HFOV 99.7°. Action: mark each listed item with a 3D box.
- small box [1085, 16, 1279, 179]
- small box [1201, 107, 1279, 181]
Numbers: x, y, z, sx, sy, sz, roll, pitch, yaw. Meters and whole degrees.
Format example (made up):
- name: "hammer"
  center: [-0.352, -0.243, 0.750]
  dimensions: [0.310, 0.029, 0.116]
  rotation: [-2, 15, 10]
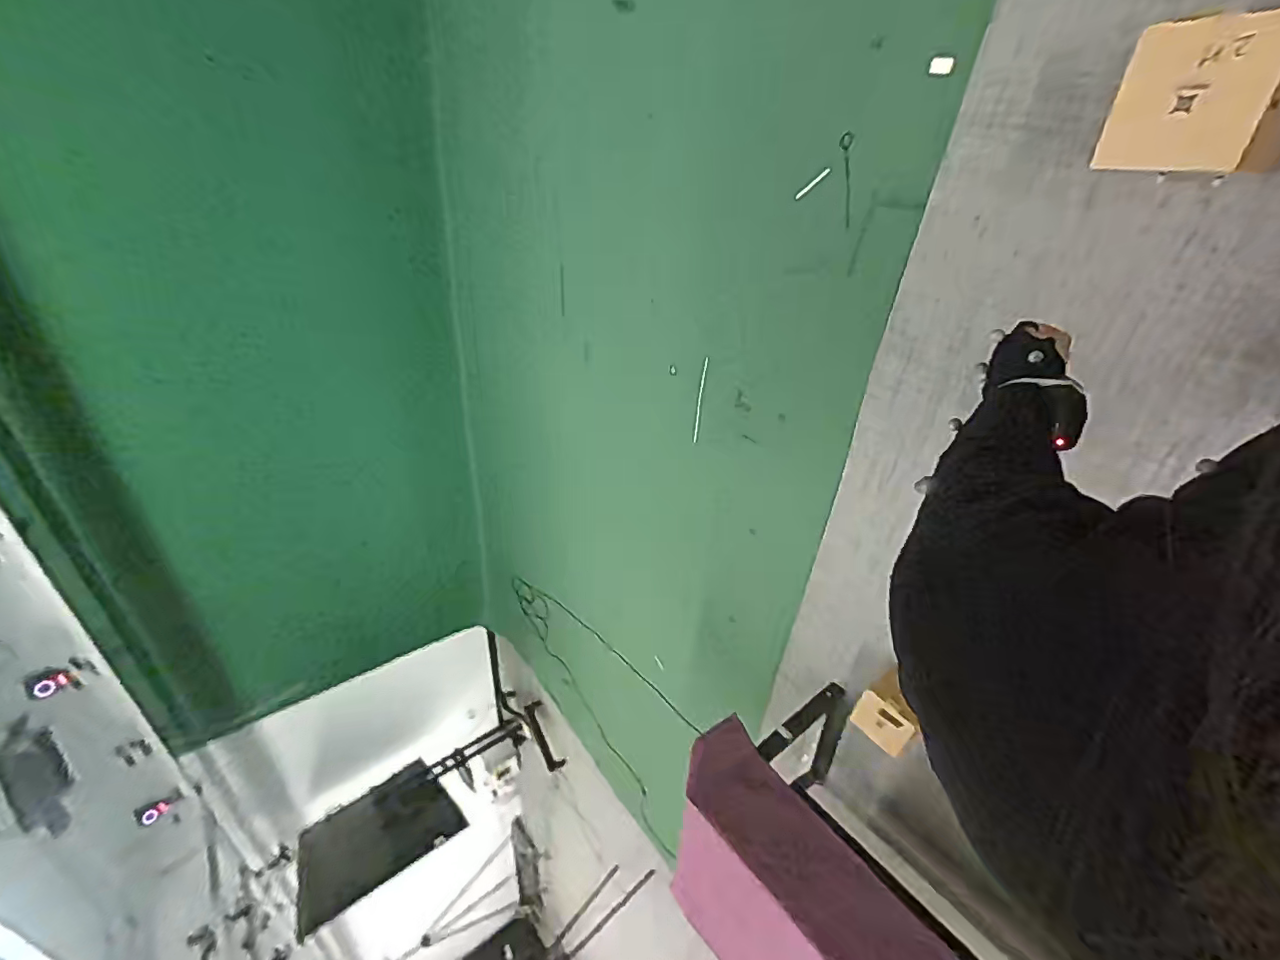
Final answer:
- name: "small box"
  center: [0.809, -0.544, 0.789]
  dimensions: [0.168, 0.176, 0.179]
  rotation: [34, 132, 41]
- name: "small box"
  center: [0.940, -0.591, 0.877]
  dimensions: [0.168, 0.176, 0.179]
  rotation: [36, 132, 40]
